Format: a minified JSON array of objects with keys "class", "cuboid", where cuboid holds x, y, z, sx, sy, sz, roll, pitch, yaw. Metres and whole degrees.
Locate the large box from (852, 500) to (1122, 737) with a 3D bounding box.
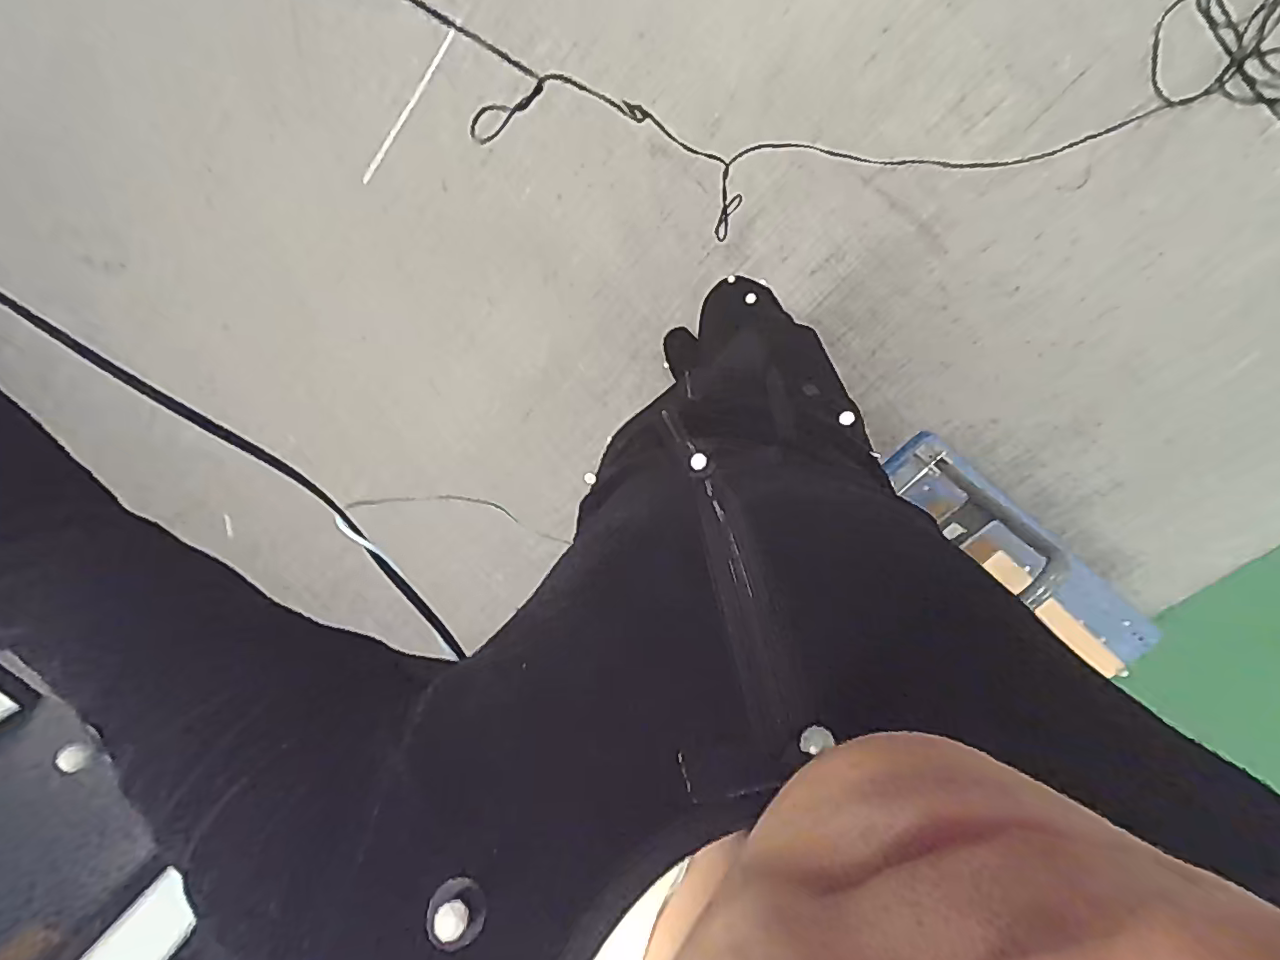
[{"class":"large box","cuboid":[0.804,0.319,1.322,0.408,0.320,0.320,40,110,-7]}]
